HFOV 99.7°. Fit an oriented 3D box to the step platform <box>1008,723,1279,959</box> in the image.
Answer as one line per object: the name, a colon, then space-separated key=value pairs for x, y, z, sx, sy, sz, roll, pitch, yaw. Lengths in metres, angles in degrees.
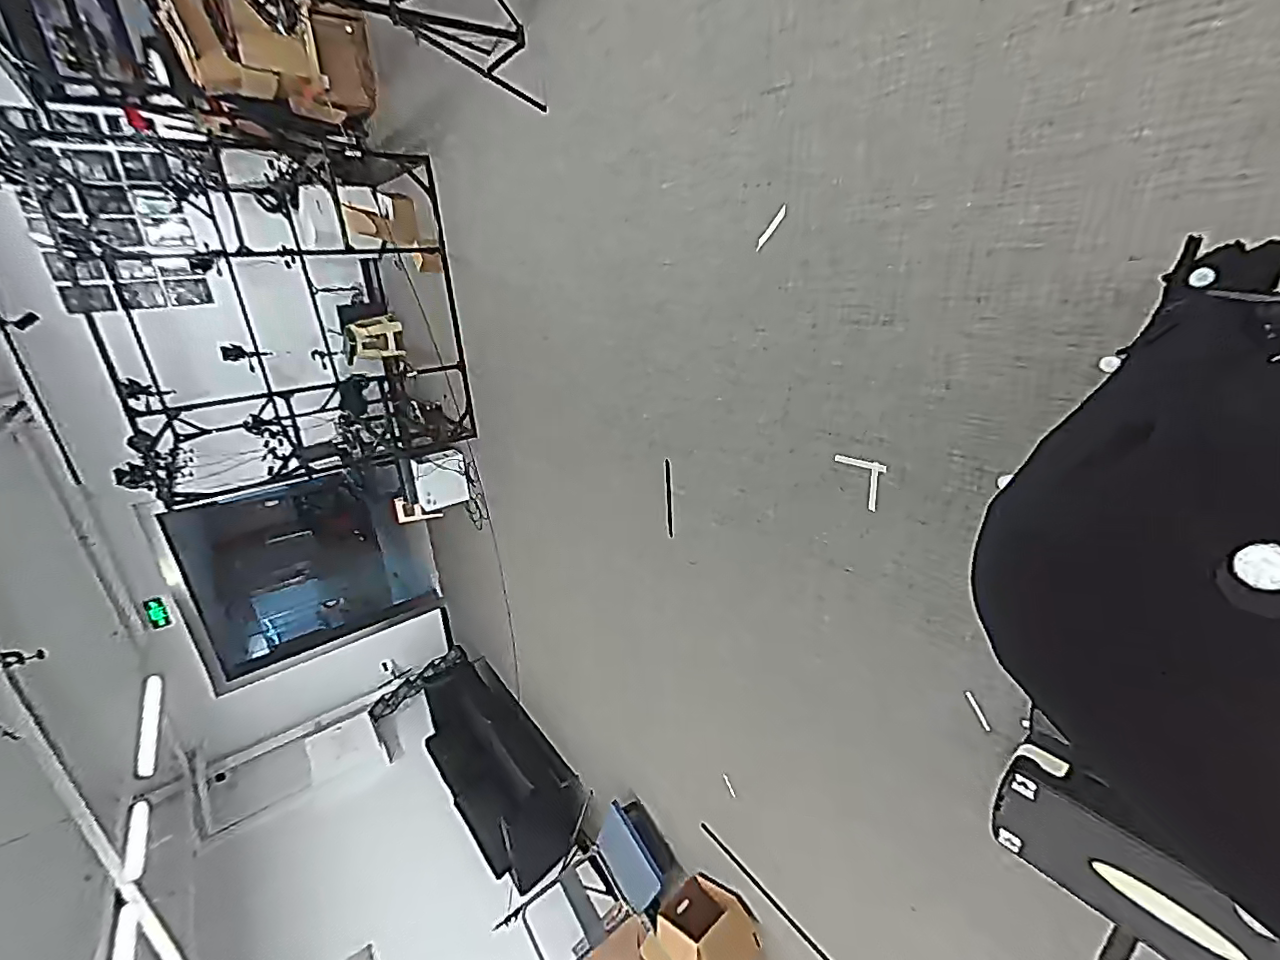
step platform: x=1.217 y=0.864 z=1.178 sx=0.684 sy=0.204 sz=0.286 roll=24 pitch=124 yaw=50
